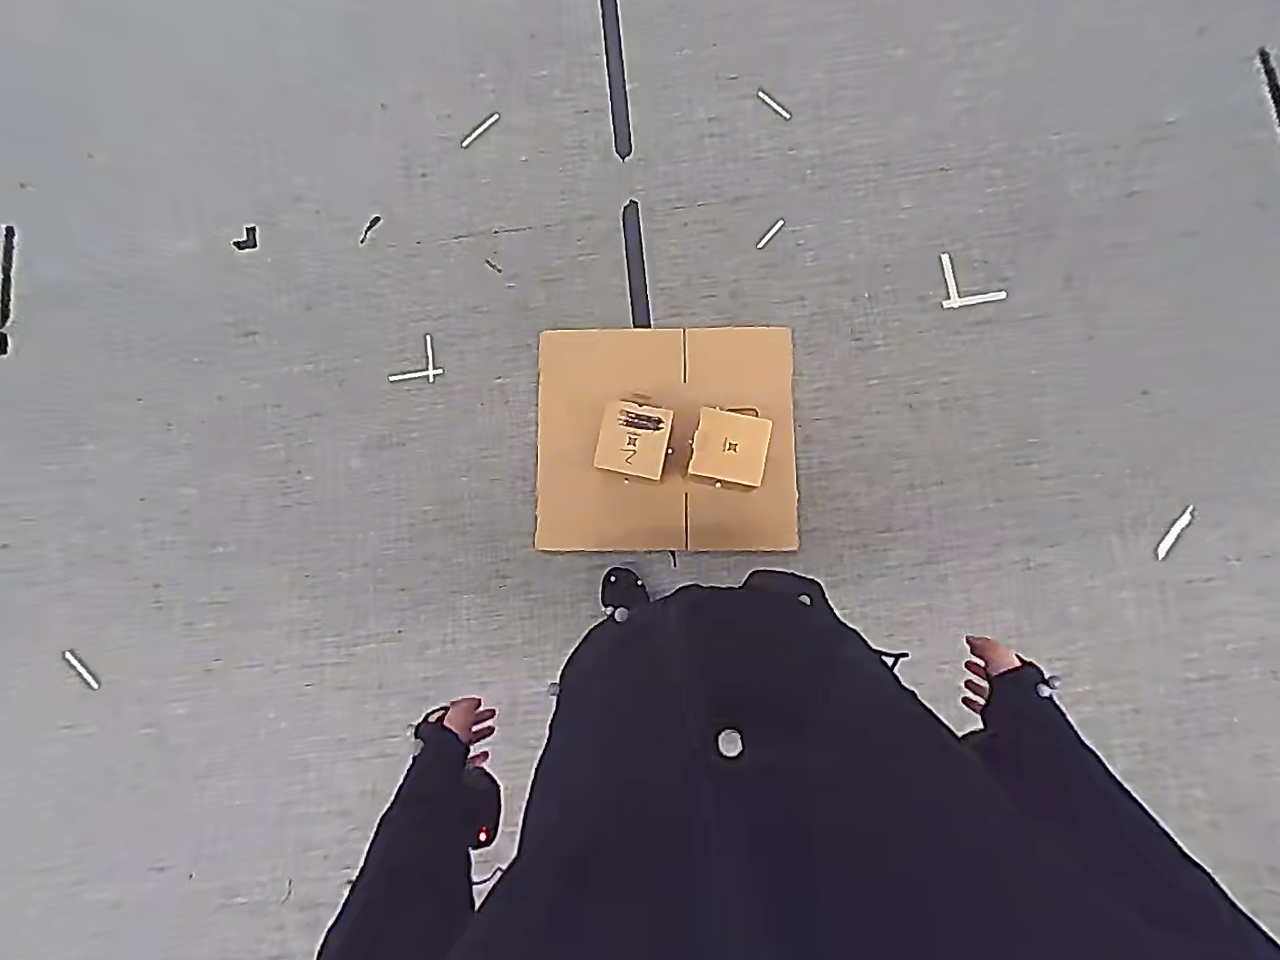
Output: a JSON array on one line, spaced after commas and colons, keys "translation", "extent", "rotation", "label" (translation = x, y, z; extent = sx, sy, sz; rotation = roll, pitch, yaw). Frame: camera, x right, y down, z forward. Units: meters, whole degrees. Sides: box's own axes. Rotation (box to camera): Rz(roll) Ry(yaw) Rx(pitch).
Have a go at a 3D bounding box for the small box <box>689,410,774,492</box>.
[{"translation": [0.226, -0.067, 1.376], "extent": [0.179, 0.176, 0.168], "rotation": [12, 84, 5], "label": "small box"}]
